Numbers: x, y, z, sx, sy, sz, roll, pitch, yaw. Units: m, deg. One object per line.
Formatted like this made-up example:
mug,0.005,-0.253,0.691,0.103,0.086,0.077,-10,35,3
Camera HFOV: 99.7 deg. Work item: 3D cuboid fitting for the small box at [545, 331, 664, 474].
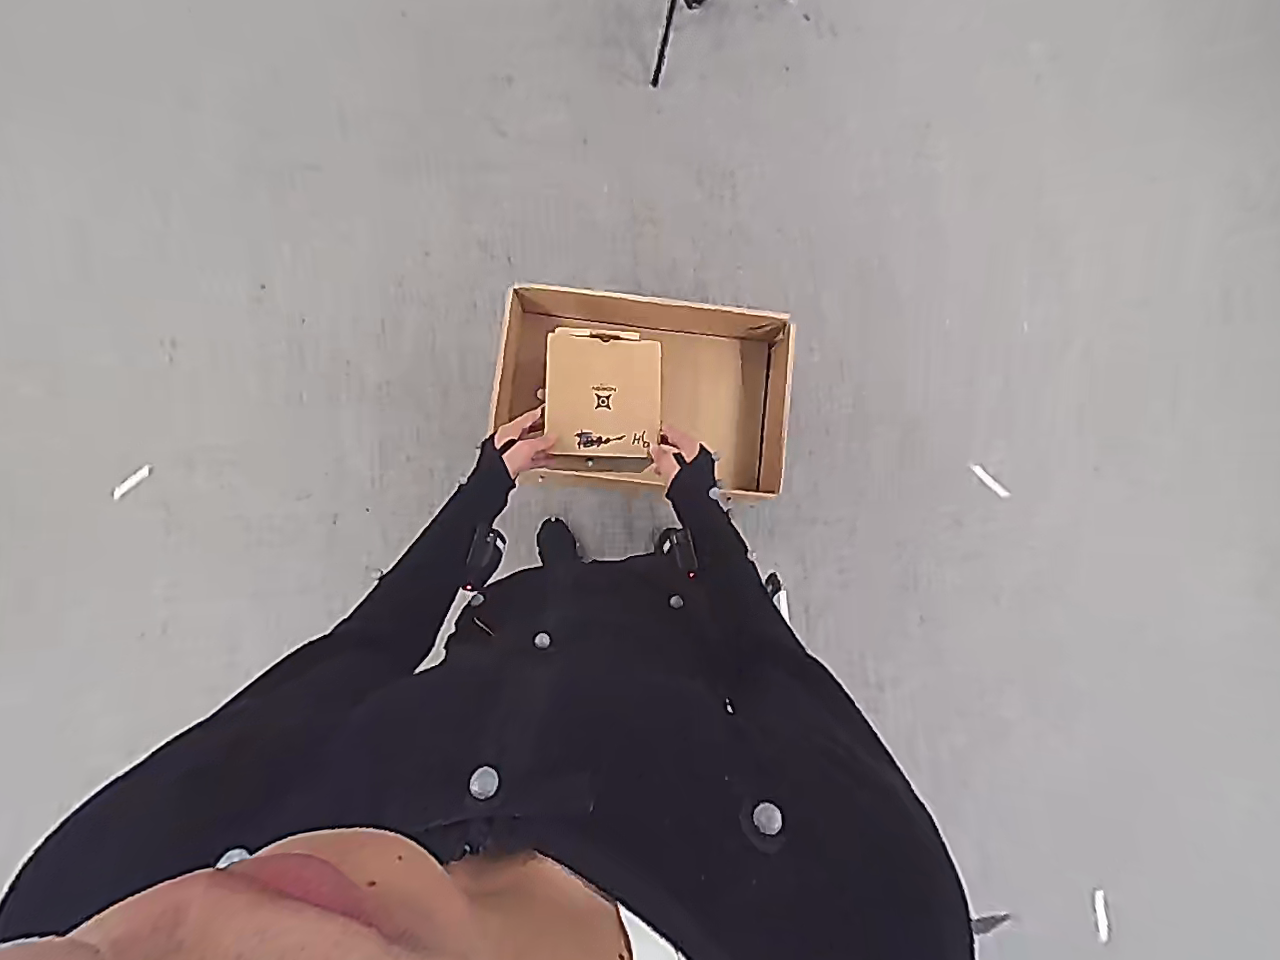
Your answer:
small box,-0.060,-0.110,0.839,0.168,0.176,0.179,2,83,-9
